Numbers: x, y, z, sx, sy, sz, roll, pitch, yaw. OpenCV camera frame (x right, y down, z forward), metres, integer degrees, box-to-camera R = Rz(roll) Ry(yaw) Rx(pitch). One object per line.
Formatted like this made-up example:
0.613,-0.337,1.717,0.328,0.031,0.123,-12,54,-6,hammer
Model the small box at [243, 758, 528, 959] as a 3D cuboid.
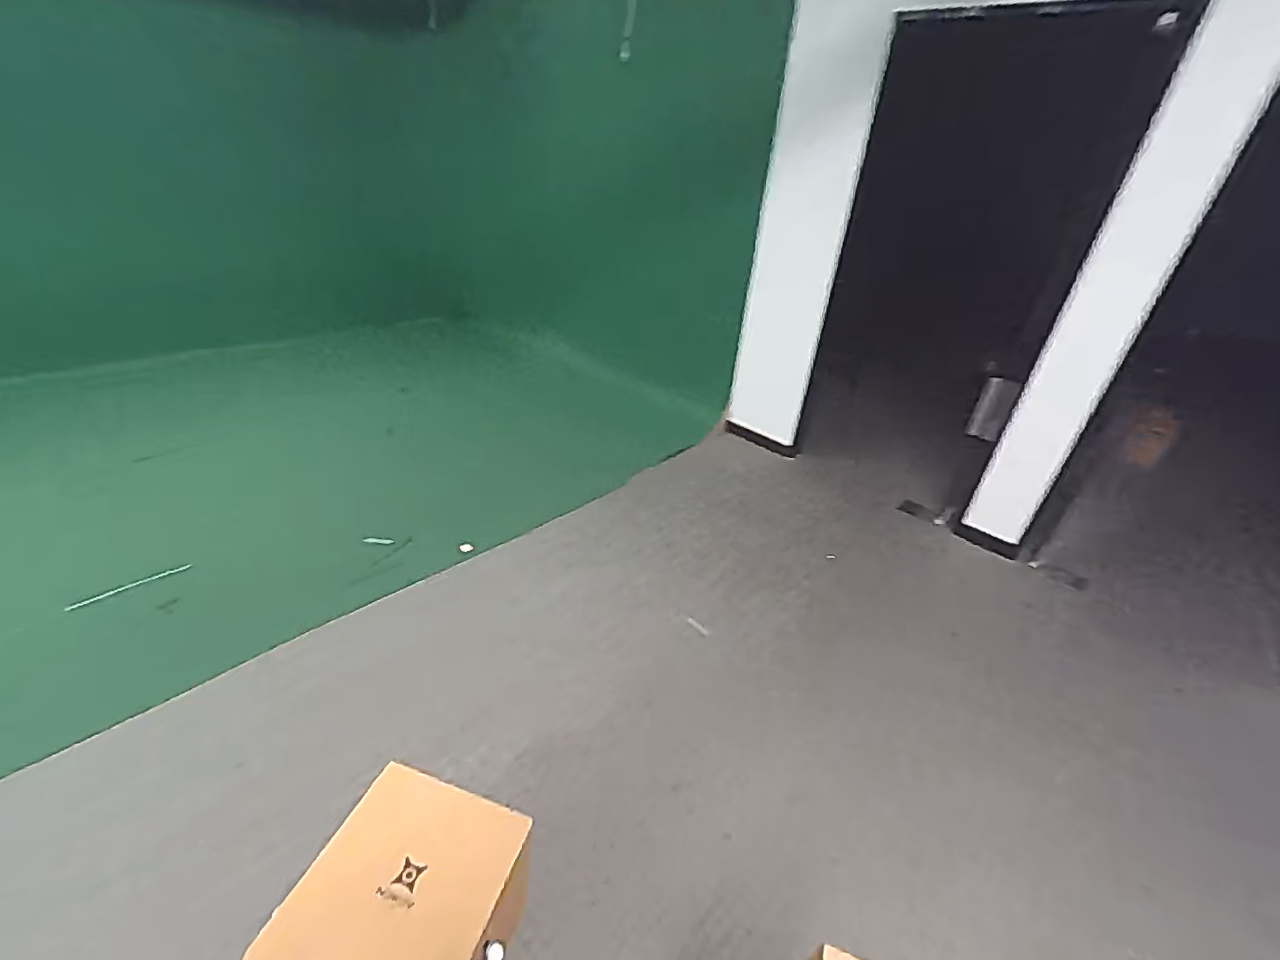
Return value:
-0.224,0.417,0.517,0.168,0.176,0.179,16,32,10,small box
